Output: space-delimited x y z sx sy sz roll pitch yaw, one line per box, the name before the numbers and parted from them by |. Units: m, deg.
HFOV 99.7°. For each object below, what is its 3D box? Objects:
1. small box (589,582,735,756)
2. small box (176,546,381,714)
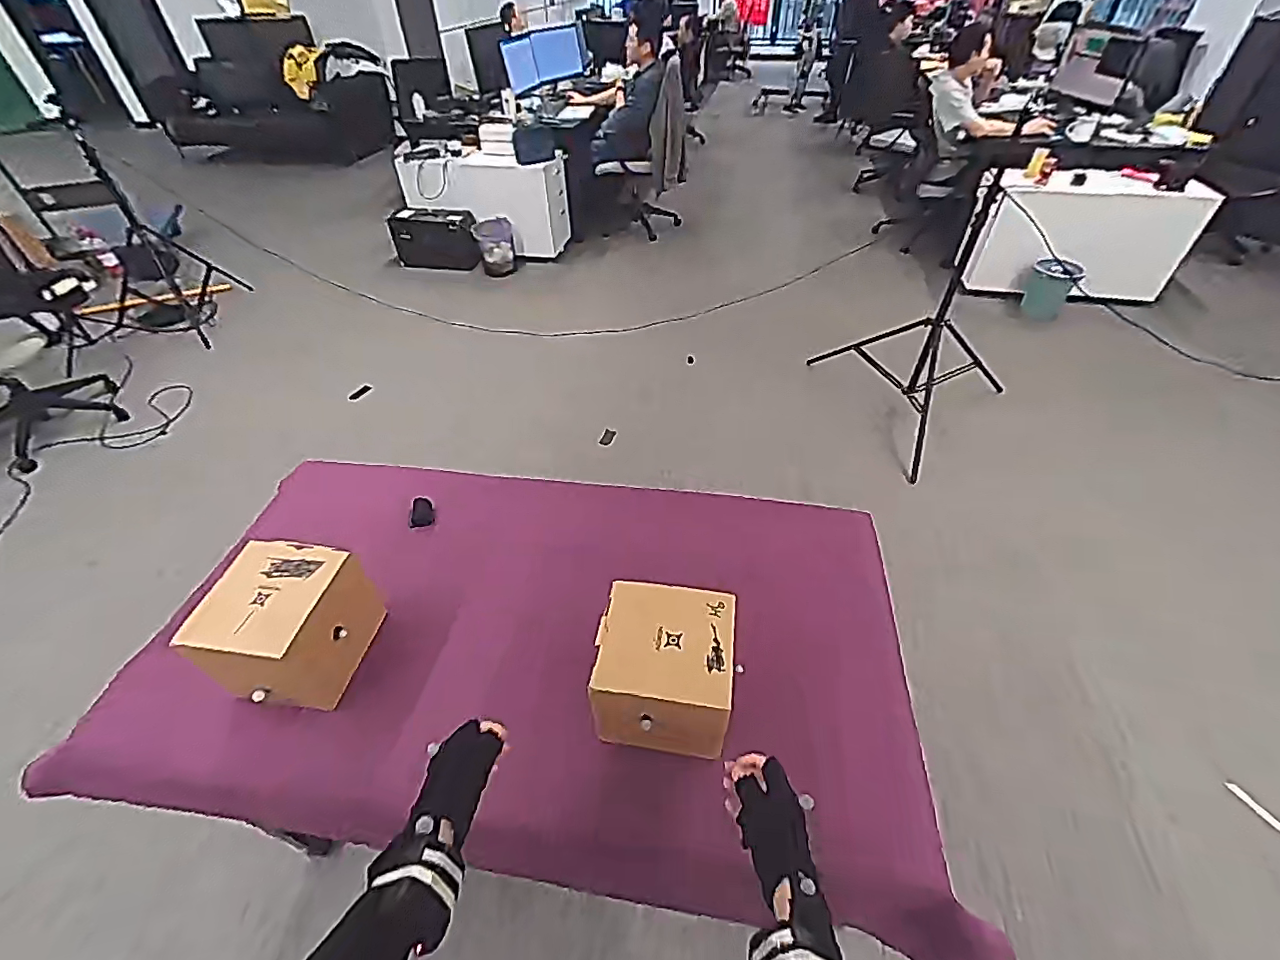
small box | 0.038 0.267 0.763 0.179 0.176 0.168 5 44 8
small box | -0.523 0.226 0.820 0.168 0.176 0.179 5 45 6
